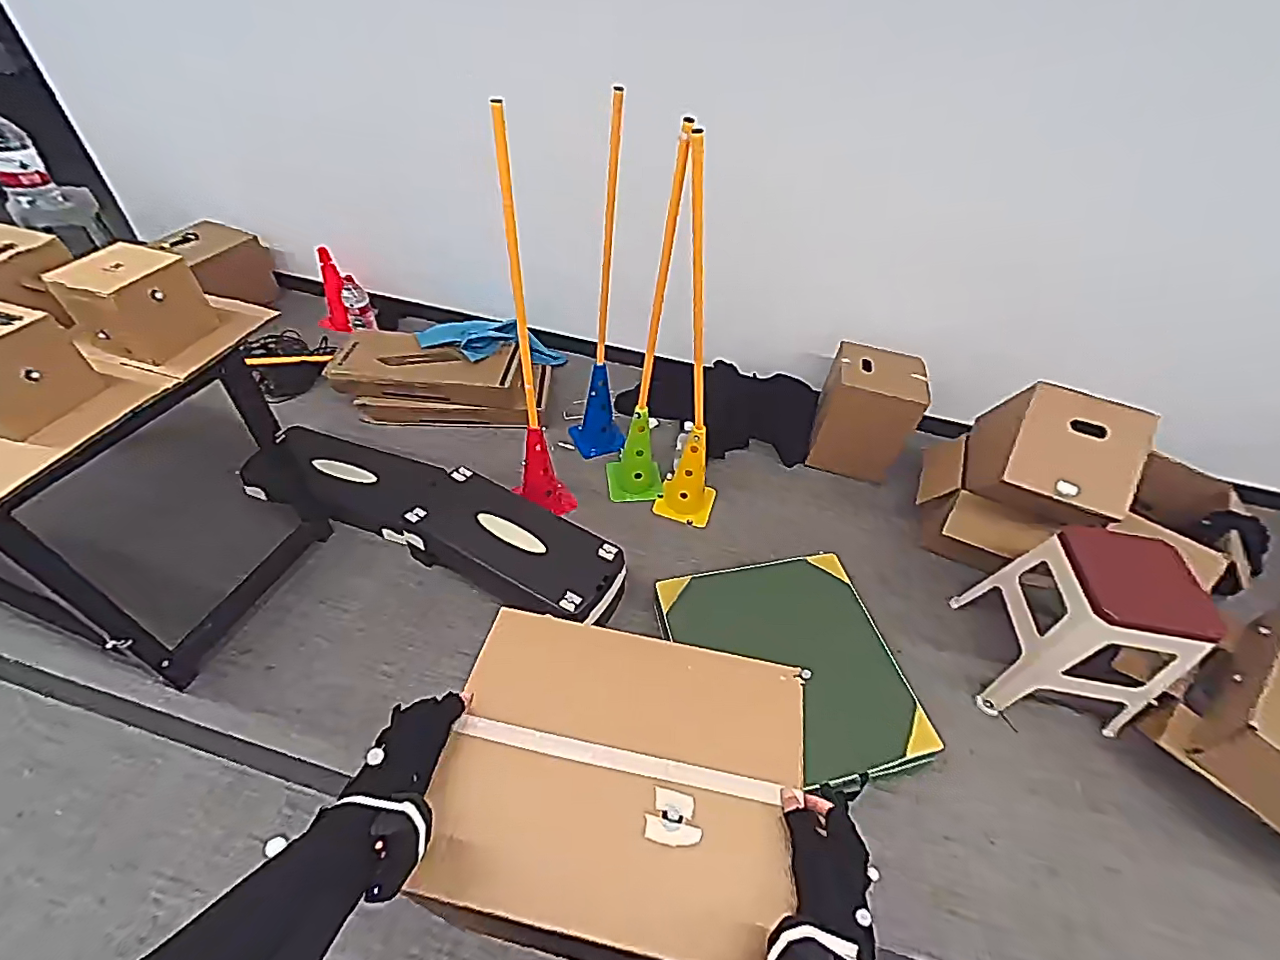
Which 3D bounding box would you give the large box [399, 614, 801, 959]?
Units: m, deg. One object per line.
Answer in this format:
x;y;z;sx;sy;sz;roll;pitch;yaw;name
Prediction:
-0.029;0.424;0.723;0.408;0.320;0.320;10;46;6;large box
